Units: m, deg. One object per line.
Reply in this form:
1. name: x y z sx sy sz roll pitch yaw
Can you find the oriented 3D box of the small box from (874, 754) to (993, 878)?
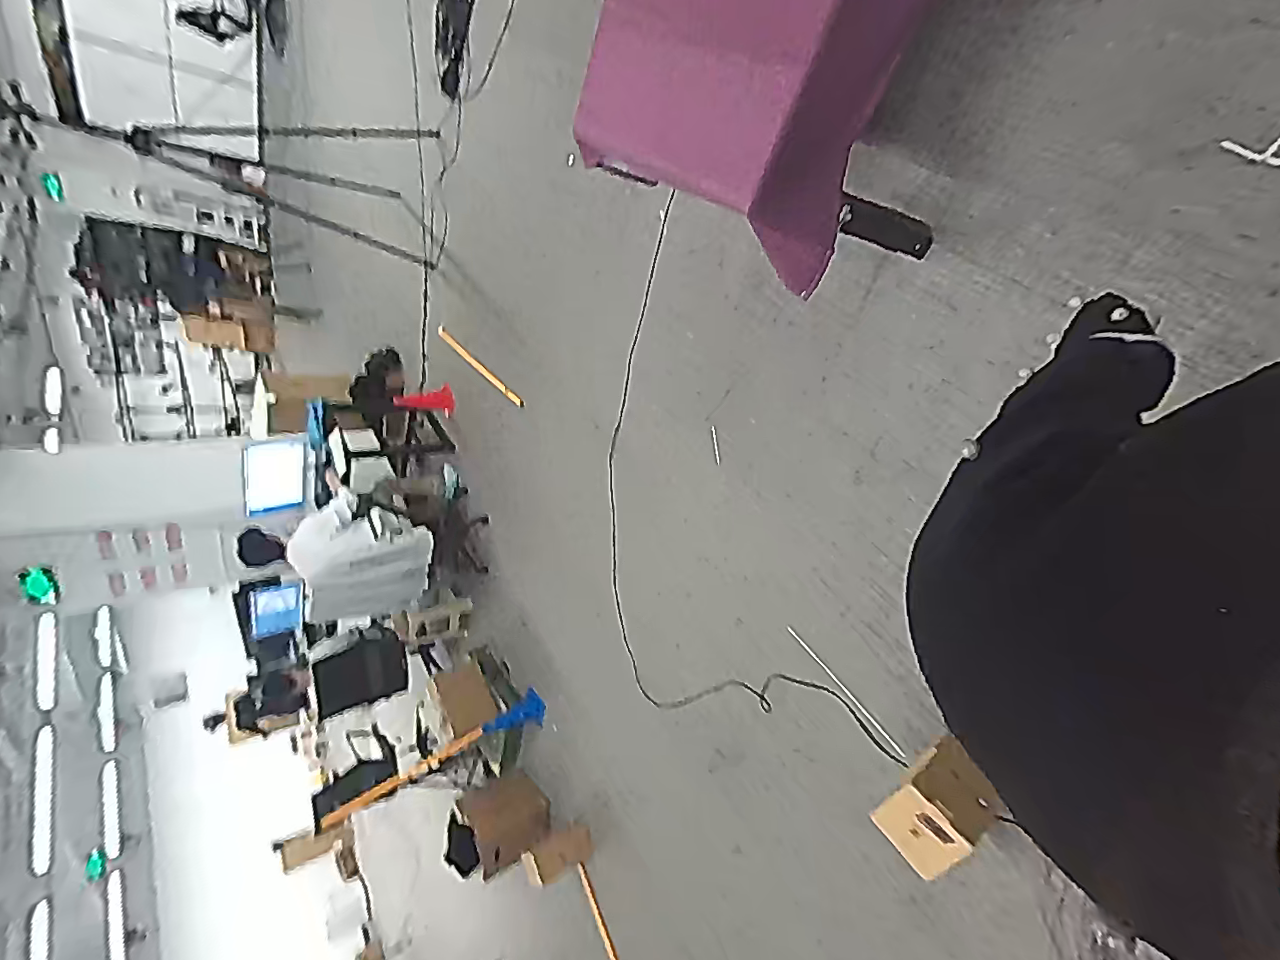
1. small box: 0.716 0.806 1.313 0.168 0.176 0.179 47 130 35
